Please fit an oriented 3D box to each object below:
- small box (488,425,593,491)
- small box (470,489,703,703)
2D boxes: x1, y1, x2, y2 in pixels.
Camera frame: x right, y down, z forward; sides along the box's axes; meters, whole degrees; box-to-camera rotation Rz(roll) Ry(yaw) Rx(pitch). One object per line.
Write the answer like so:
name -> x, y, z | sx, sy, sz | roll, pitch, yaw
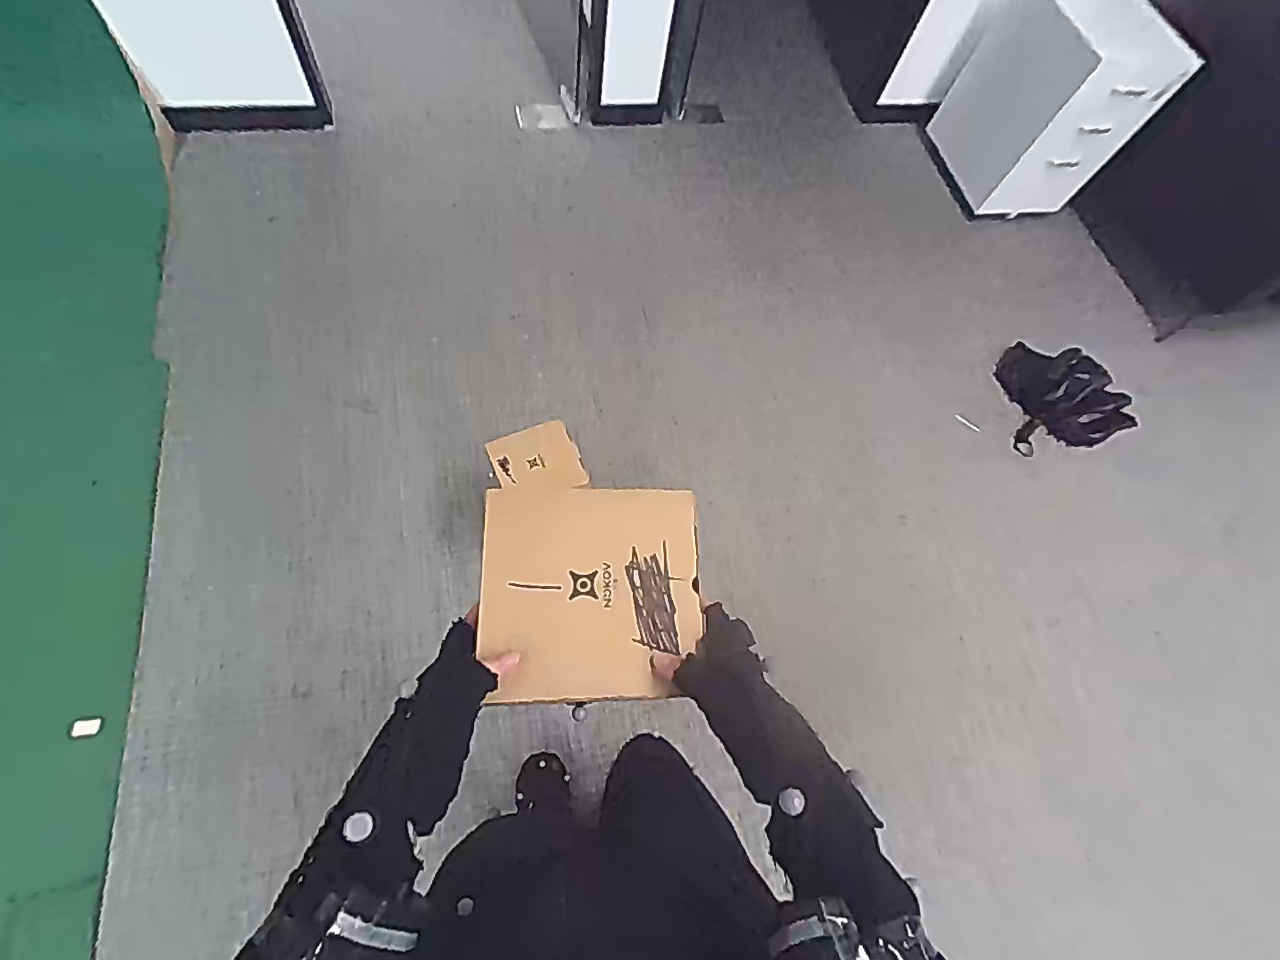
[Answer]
small box -> -0.222, 0.007, 1.213 | 0.179, 0.176, 0.168 | -23, 72, -17
small box -> -0.051, 0.114, 0.503 | 0.179, 0.176, 0.168 | 0, 67, -8
